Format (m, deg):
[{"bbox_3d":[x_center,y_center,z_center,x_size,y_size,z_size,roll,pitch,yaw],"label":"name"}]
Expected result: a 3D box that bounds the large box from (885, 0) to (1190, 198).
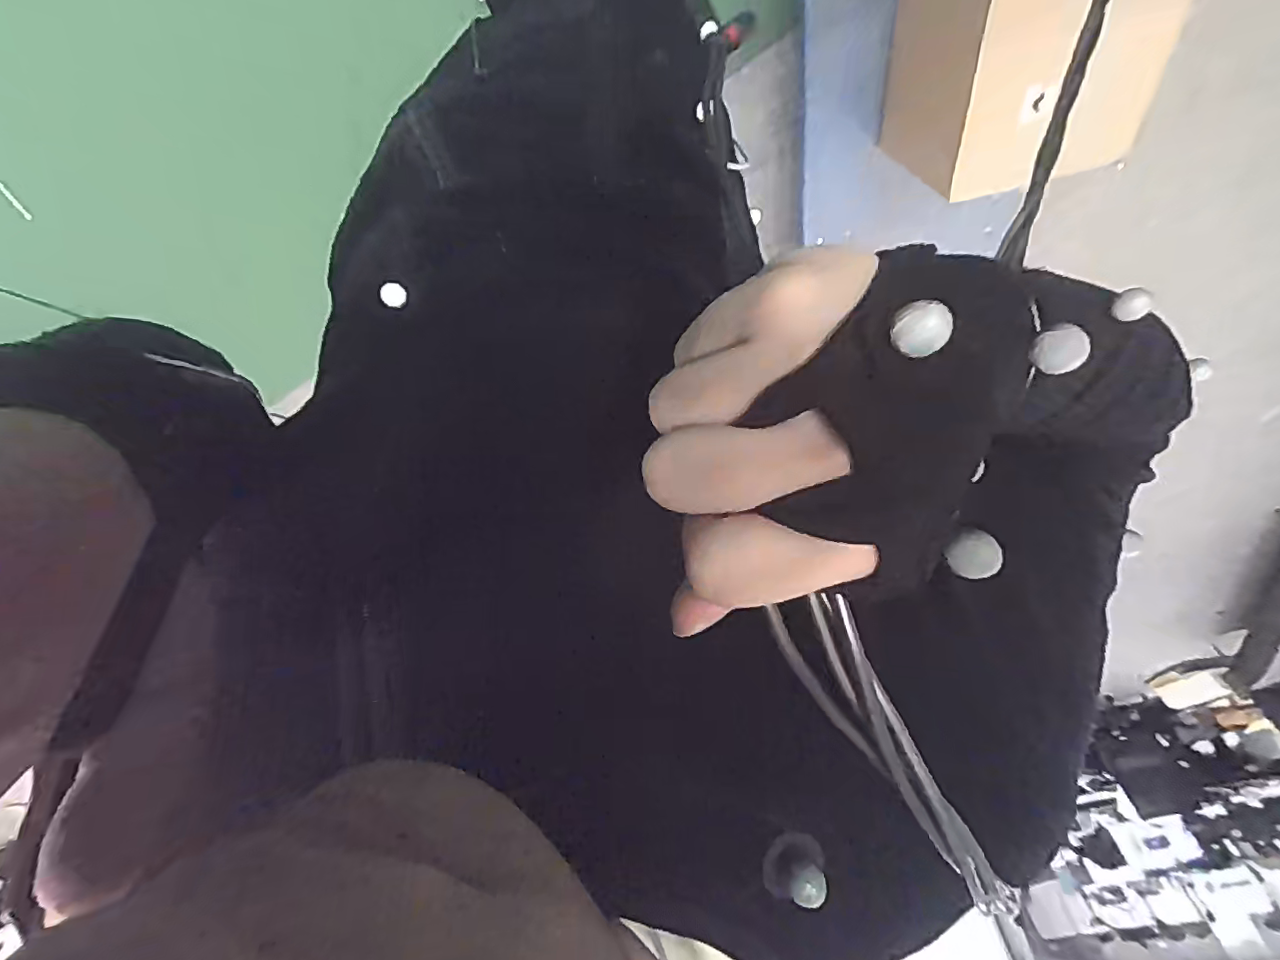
[{"bbox_3d":[0.654,-0.780,0.922,0.320,0.320,0.408,-12,139,5],"label":"large box"}]
